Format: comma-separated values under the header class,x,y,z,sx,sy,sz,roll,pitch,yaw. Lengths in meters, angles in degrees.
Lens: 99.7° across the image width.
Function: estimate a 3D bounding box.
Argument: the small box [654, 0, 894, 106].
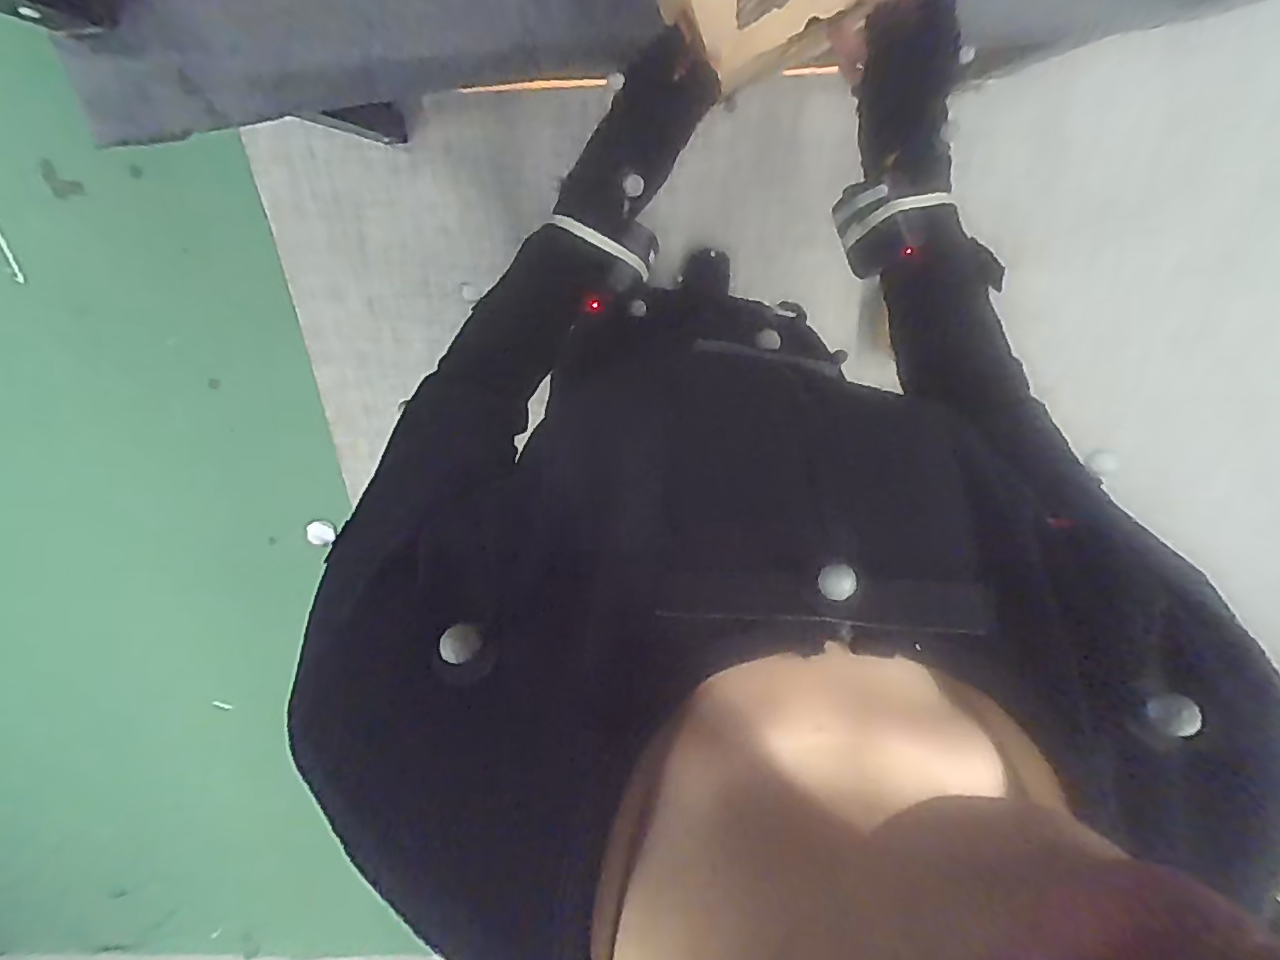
class,x,y,z,sx,sy,sz,roll,pitch,yaw
small box,0.097,-0.445,0.453,0.168,0.176,0.179,-21,114,10
